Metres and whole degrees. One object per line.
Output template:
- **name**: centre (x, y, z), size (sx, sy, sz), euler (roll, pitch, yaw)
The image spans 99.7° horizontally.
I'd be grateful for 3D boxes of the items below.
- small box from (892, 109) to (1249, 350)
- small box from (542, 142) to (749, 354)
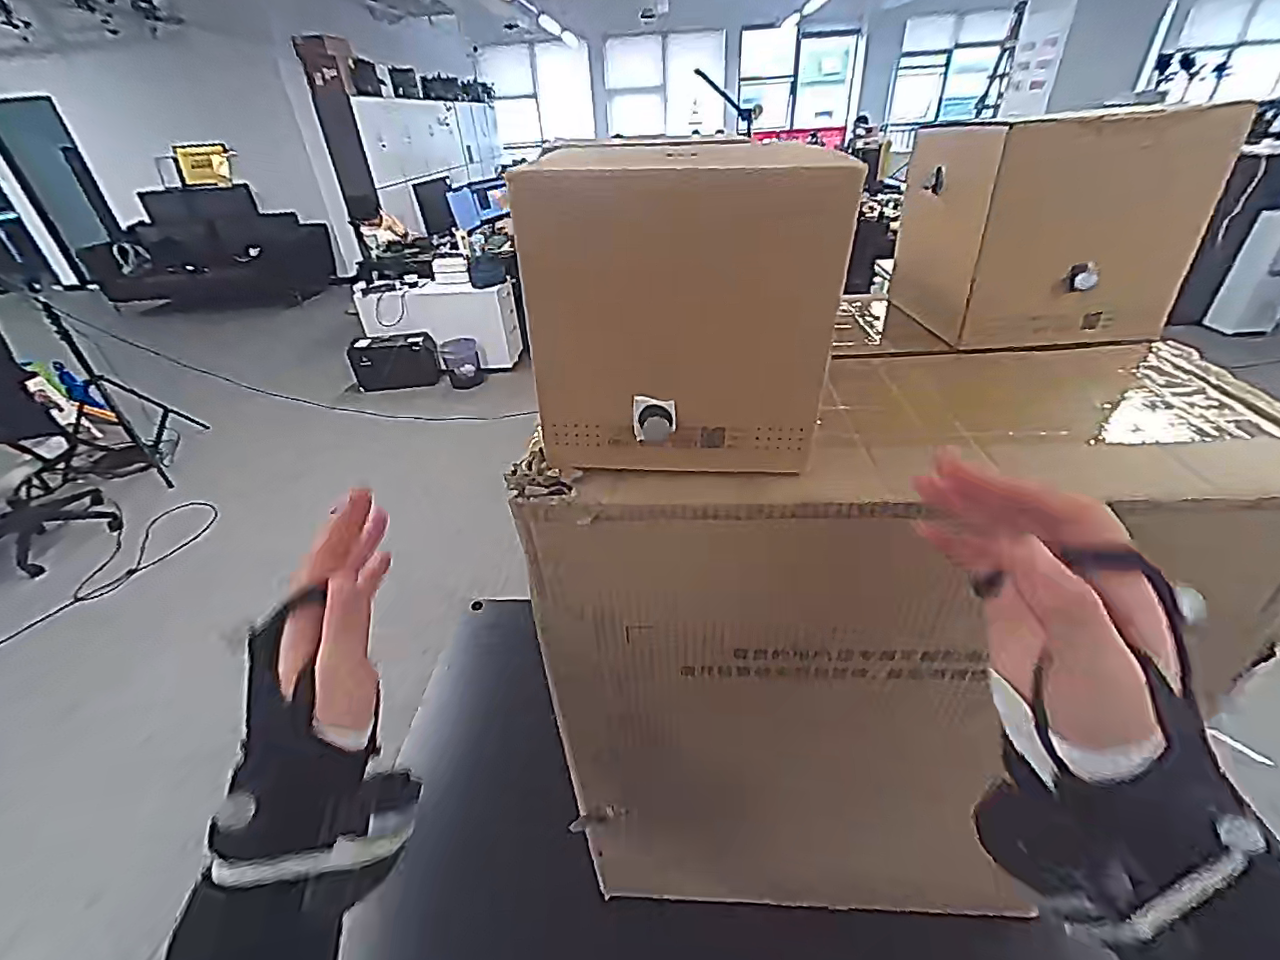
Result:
- **small box**: centre (0.350, -0.226, 0.492), size (0.168, 0.176, 0.179), euler (-3, 32, 4)
- **small box**: centre (0.003, -0.231, 0.533), size (0.168, 0.176, 0.179), euler (-3, 33, -2)
